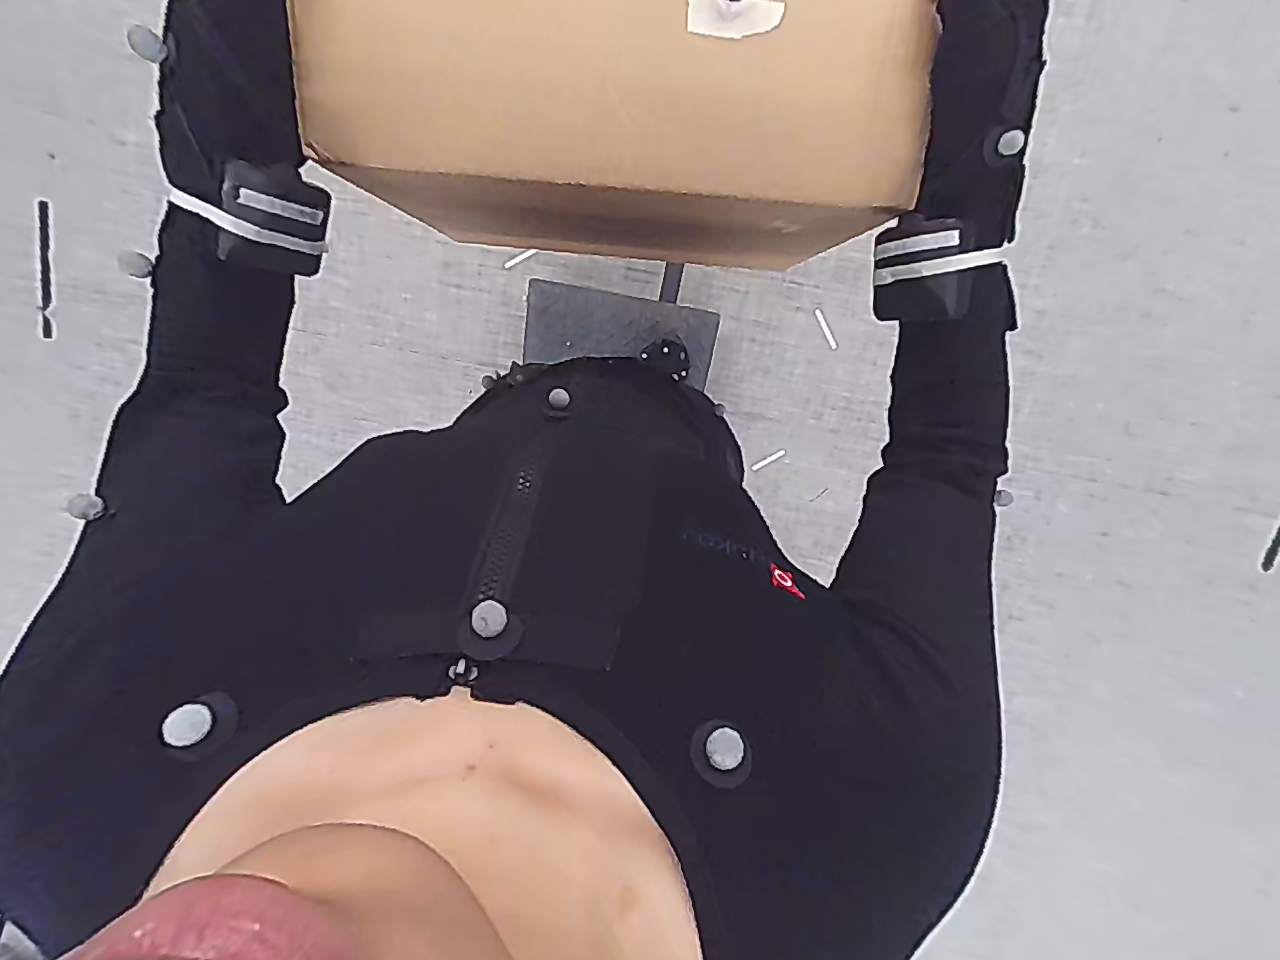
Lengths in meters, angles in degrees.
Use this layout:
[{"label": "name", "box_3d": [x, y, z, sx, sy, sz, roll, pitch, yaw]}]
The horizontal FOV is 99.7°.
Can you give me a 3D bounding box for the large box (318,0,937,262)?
[{"label": "large box", "box_3d": [-0.008, -0.390, 0.479, 0.408, 0.320, 0.320, 3, 104, -2]}]
